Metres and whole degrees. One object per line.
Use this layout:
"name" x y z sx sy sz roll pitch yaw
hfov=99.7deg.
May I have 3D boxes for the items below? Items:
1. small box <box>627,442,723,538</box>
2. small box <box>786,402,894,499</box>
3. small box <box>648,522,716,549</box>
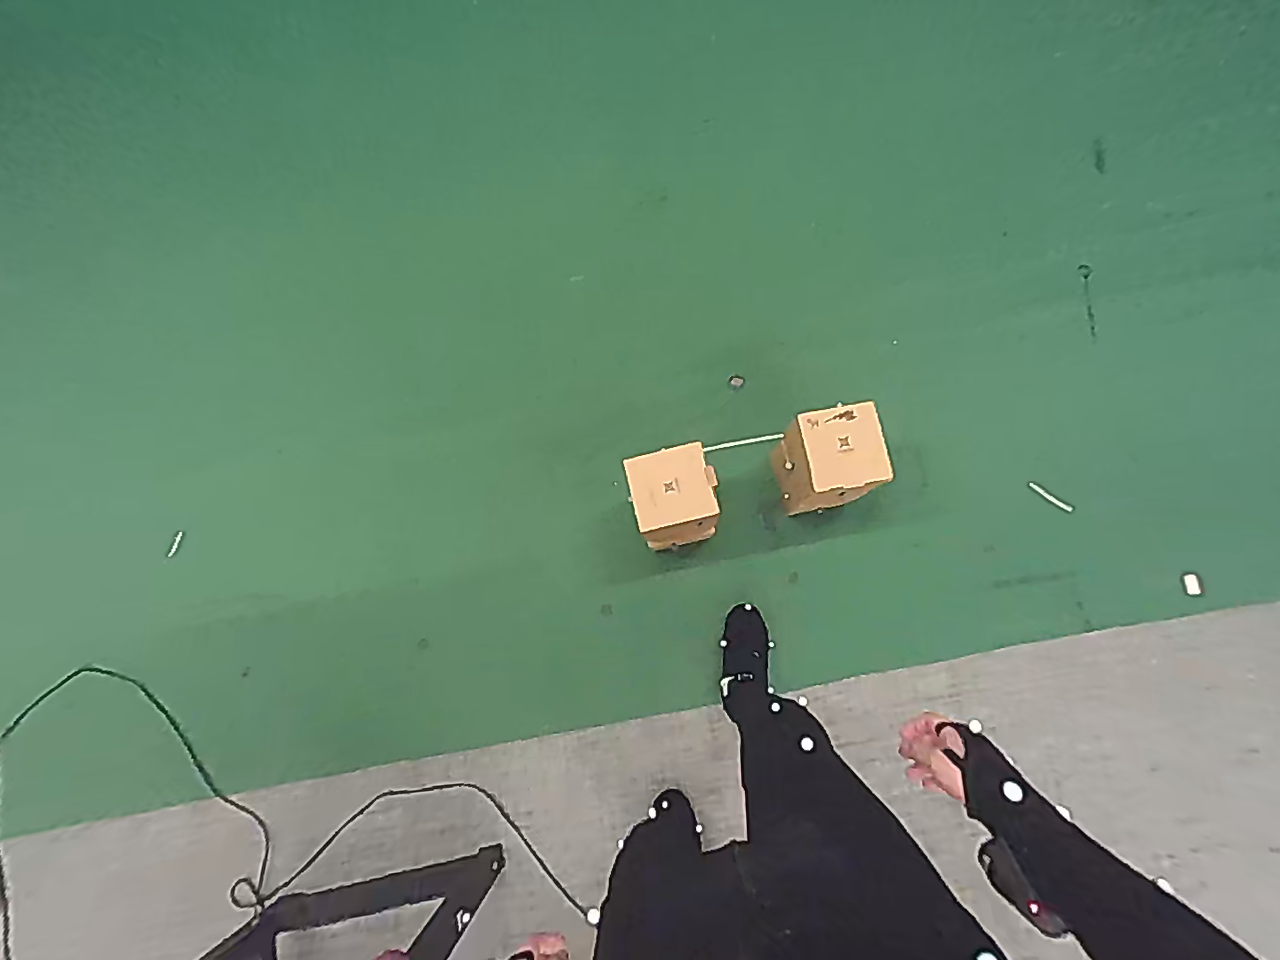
"small box" 0.078 0.029 1.222 0.179 0.176 0.168 -14 77 2
"small box" 0.438 -0.056 1.207 0.168 0.176 0.179 -9 80 1
"small box" 0.094 0.076 1.377 0.168 0.176 0.179 -14 77 2
